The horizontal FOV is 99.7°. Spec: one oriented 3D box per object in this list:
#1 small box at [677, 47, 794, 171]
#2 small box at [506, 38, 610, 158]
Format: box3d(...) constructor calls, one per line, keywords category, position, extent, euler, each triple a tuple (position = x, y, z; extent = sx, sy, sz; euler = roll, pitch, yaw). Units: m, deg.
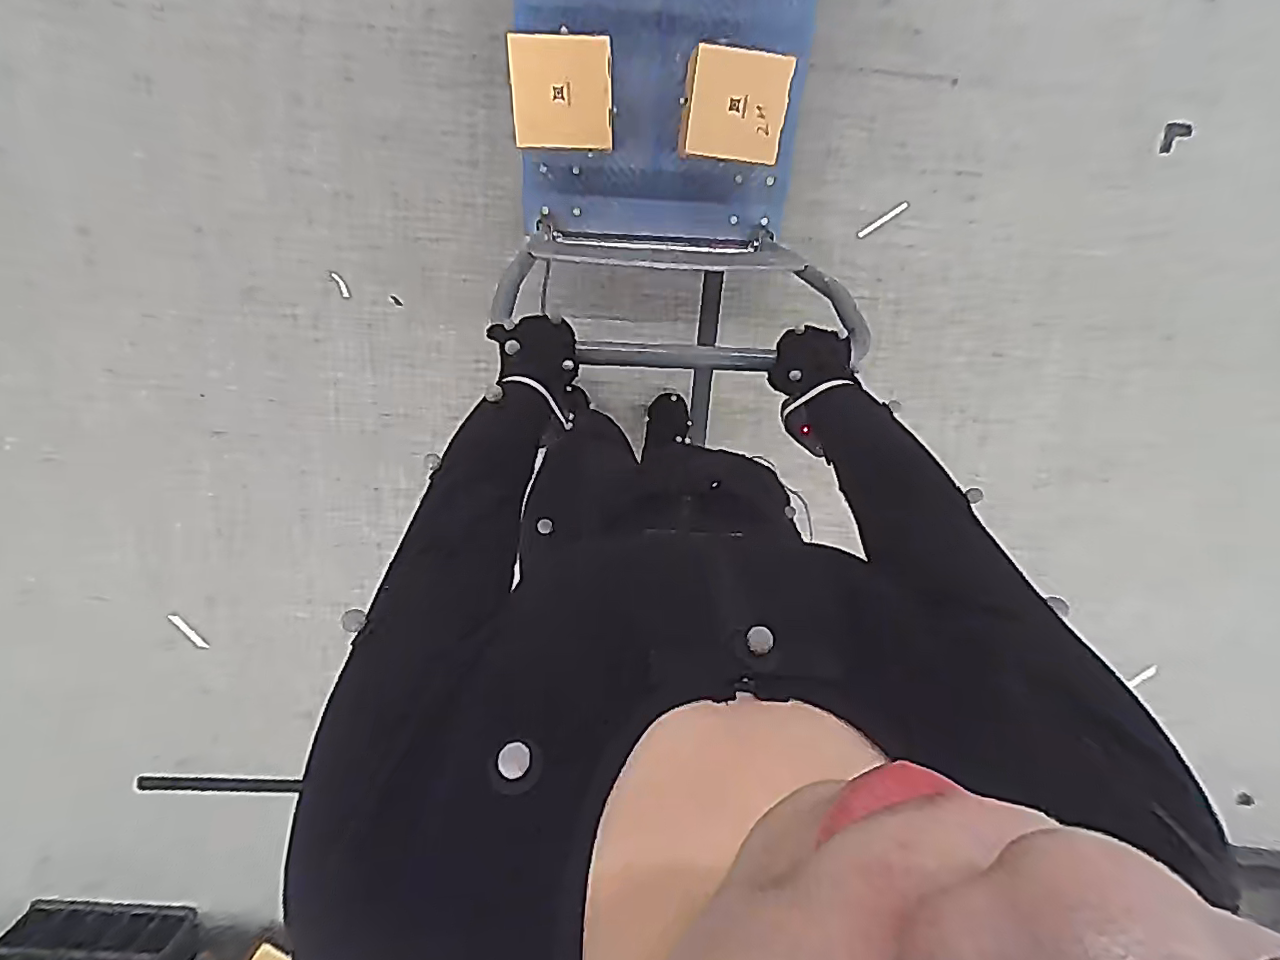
box3d(category="small box", position=(0.171, -0.702, 1.043), extent=(0.179, 0.176, 0.168), euler=(5, 118, -5))
box3d(category="small box", position=(-0.146, -0.711, 1.024), extent=(0.179, 0.176, 0.168), euler=(-2, 118, -3))
